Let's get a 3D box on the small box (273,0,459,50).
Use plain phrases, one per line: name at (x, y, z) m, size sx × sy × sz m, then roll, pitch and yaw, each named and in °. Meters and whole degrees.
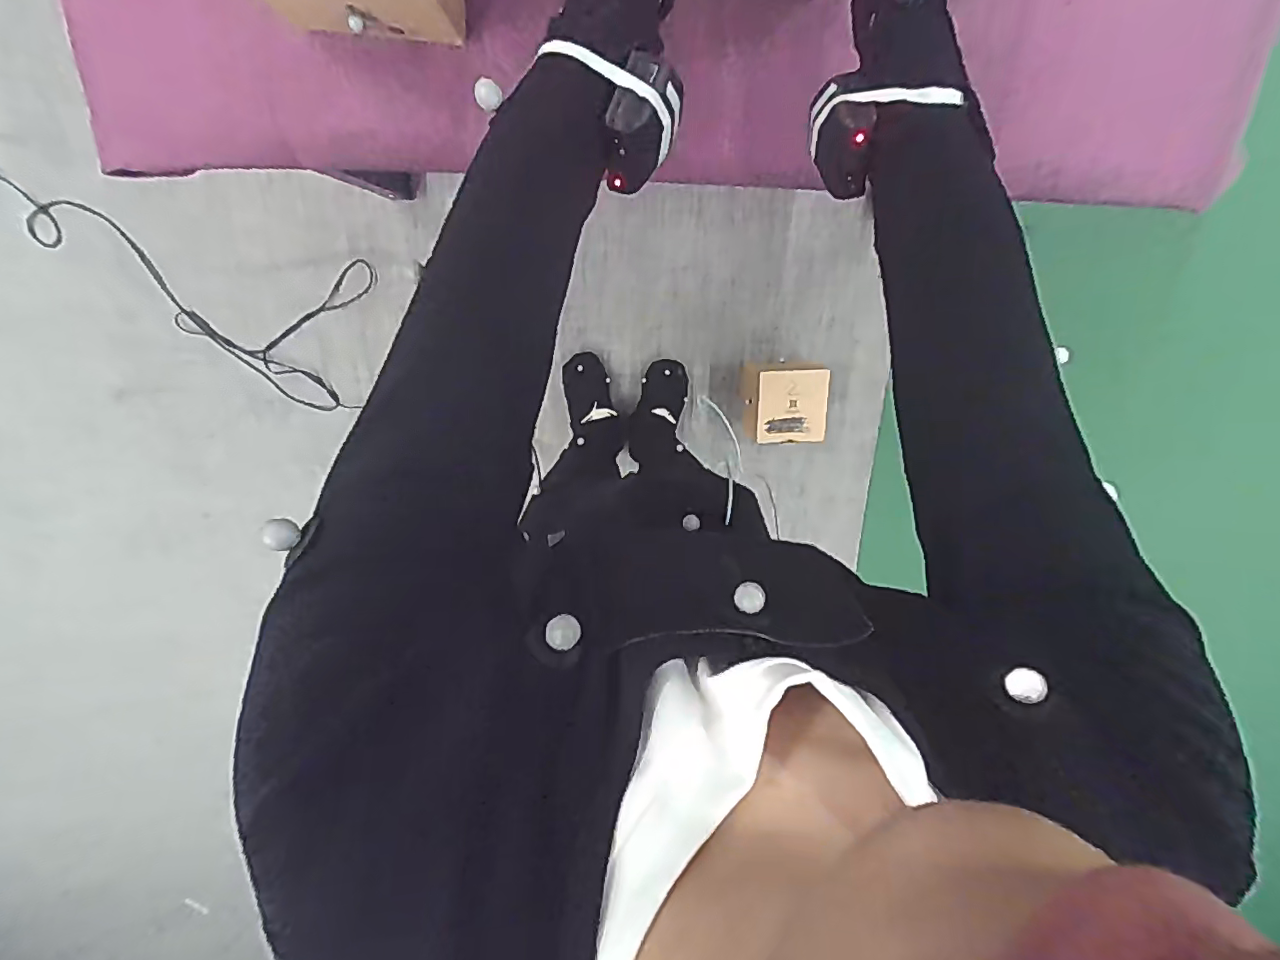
small box at (-0.249, -0.493, 0.435) m, size 0.168 × 0.176 × 0.179 m, roll 4°, pitch 110°, yaw -5°
